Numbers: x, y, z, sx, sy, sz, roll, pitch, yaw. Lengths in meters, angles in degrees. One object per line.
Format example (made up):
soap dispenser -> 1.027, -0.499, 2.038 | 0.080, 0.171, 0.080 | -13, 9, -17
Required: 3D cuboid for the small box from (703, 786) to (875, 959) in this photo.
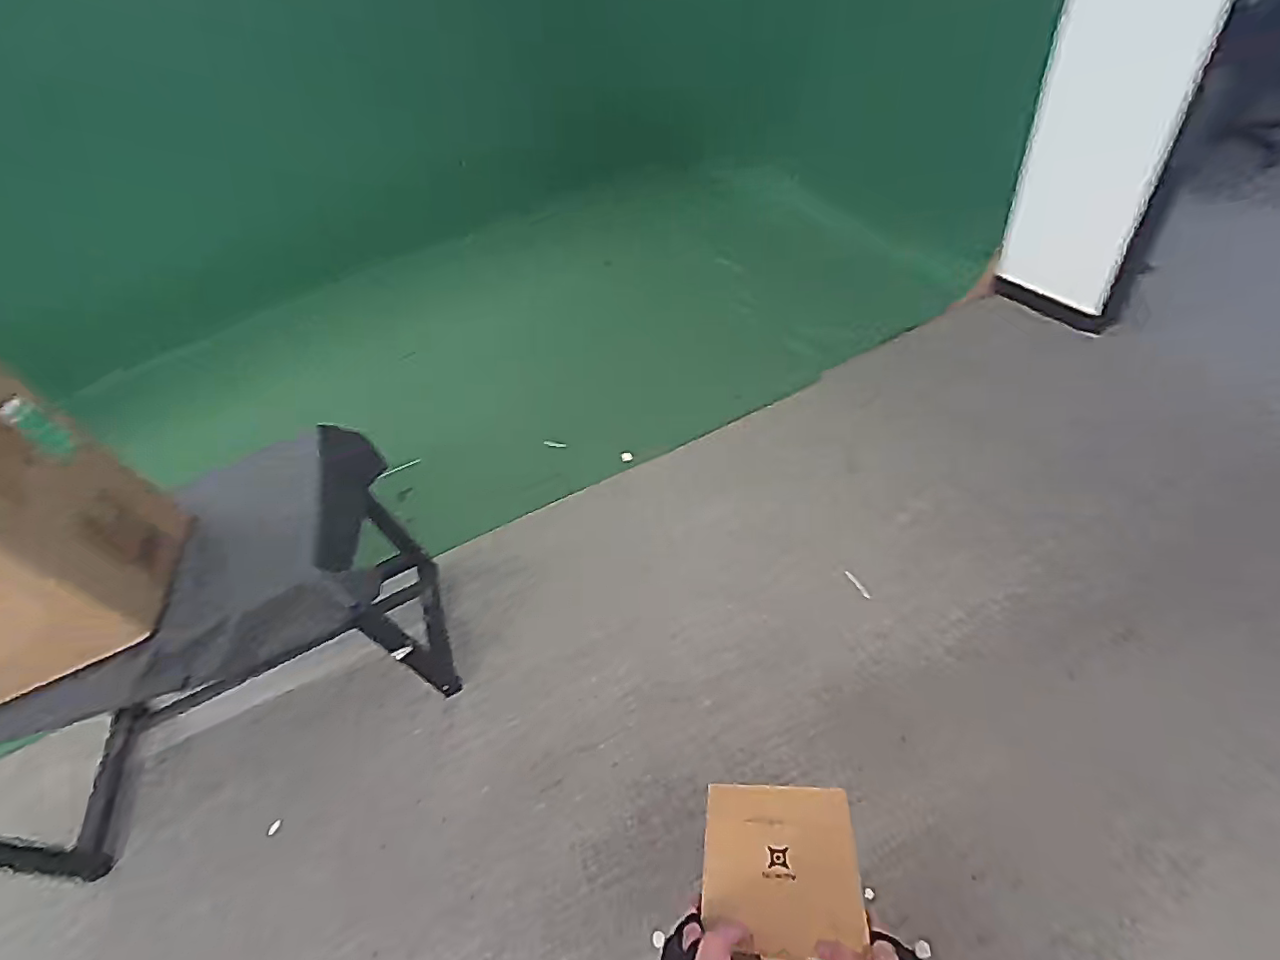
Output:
small box -> 0.169, 0.488, 0.622 | 0.168, 0.176, 0.179 | -7, 24, 12
